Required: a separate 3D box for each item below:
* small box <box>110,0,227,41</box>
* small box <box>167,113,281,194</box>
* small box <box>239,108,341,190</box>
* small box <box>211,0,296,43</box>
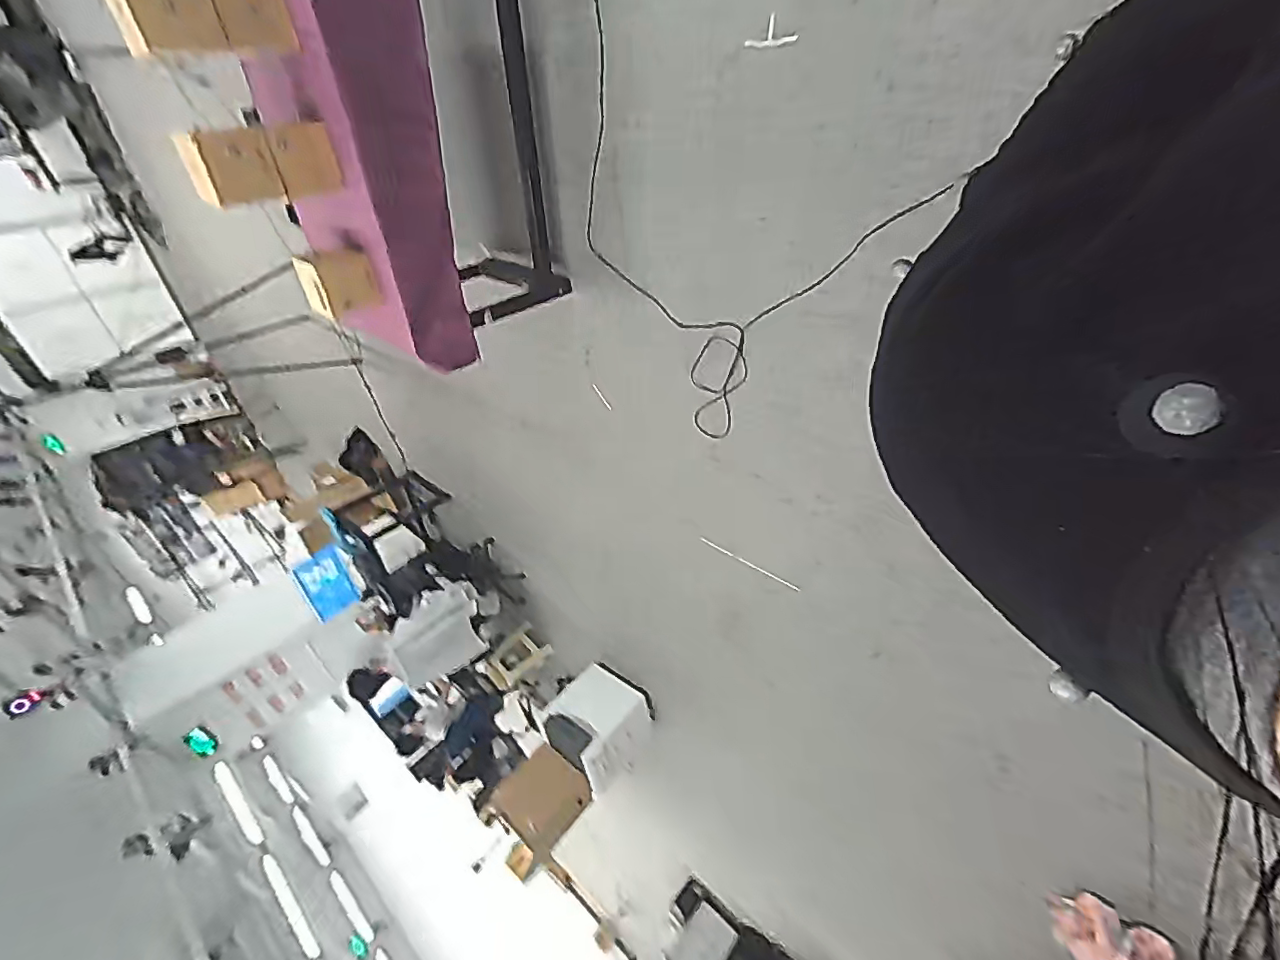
[{"bbox_3d":[-1.091,-1.114,1.226,0.168,0.176,0.179,27,136,34],"label":"small box"},{"bbox_3d":[-1.088,-0.868,1.430,0.179,0.176,0.168,28,135,33],"label":"small box"},{"bbox_3d":[-0.981,-0.939,1.530,0.168,0.176,0.179,28,136,32],"label":"small box"},{"bbox_3d":[-0.985,-1.193,1.324,0.168,0.176,0.179,25,136,34],"label":"small box"}]
